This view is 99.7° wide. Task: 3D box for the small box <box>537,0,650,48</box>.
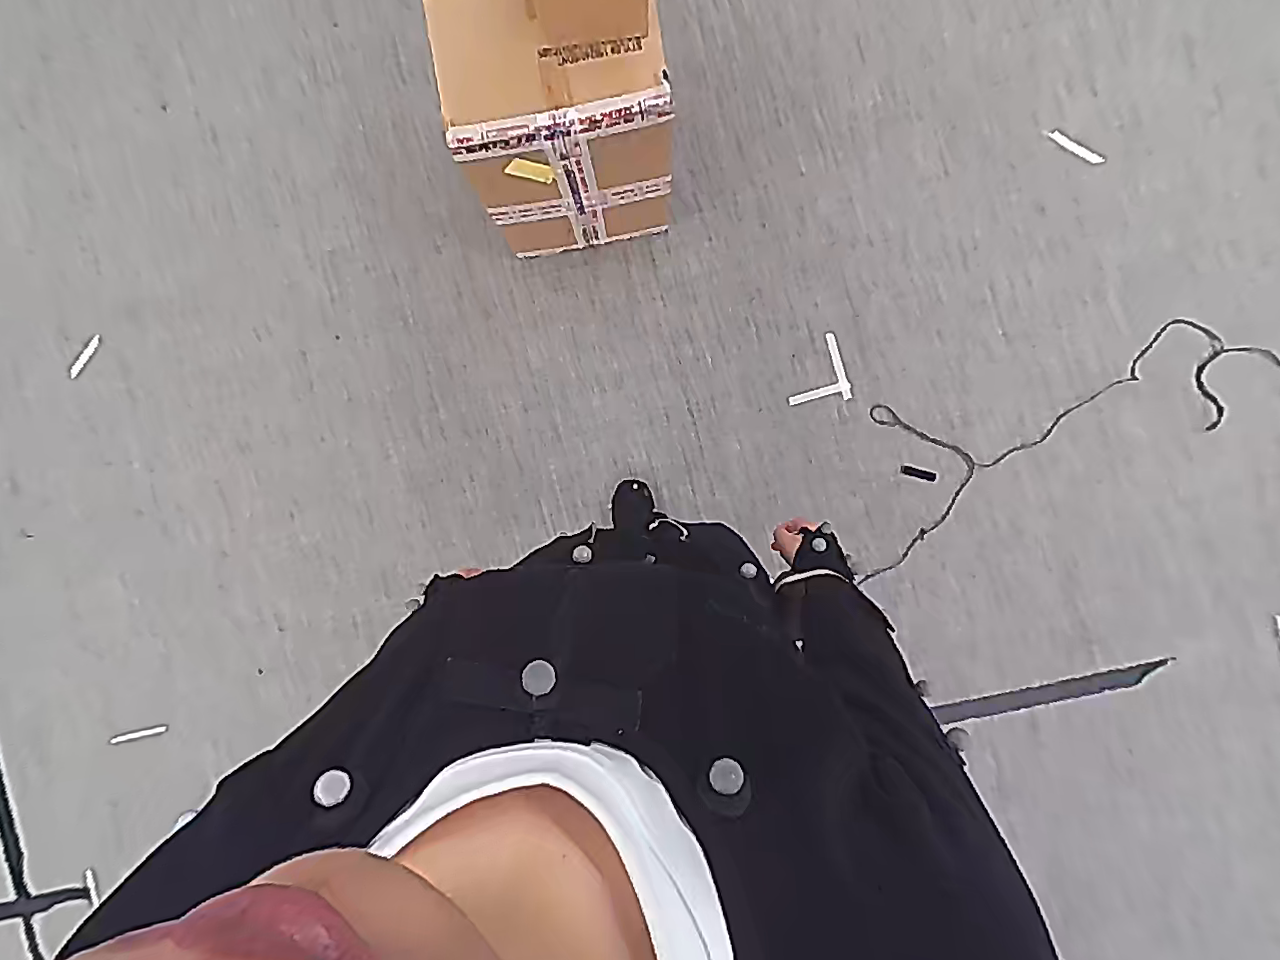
[{"bbox_3d":[-0.078,-0.799,0.816,0.179,0.176,0.168,-7,92,1],"label":"small box"}]
